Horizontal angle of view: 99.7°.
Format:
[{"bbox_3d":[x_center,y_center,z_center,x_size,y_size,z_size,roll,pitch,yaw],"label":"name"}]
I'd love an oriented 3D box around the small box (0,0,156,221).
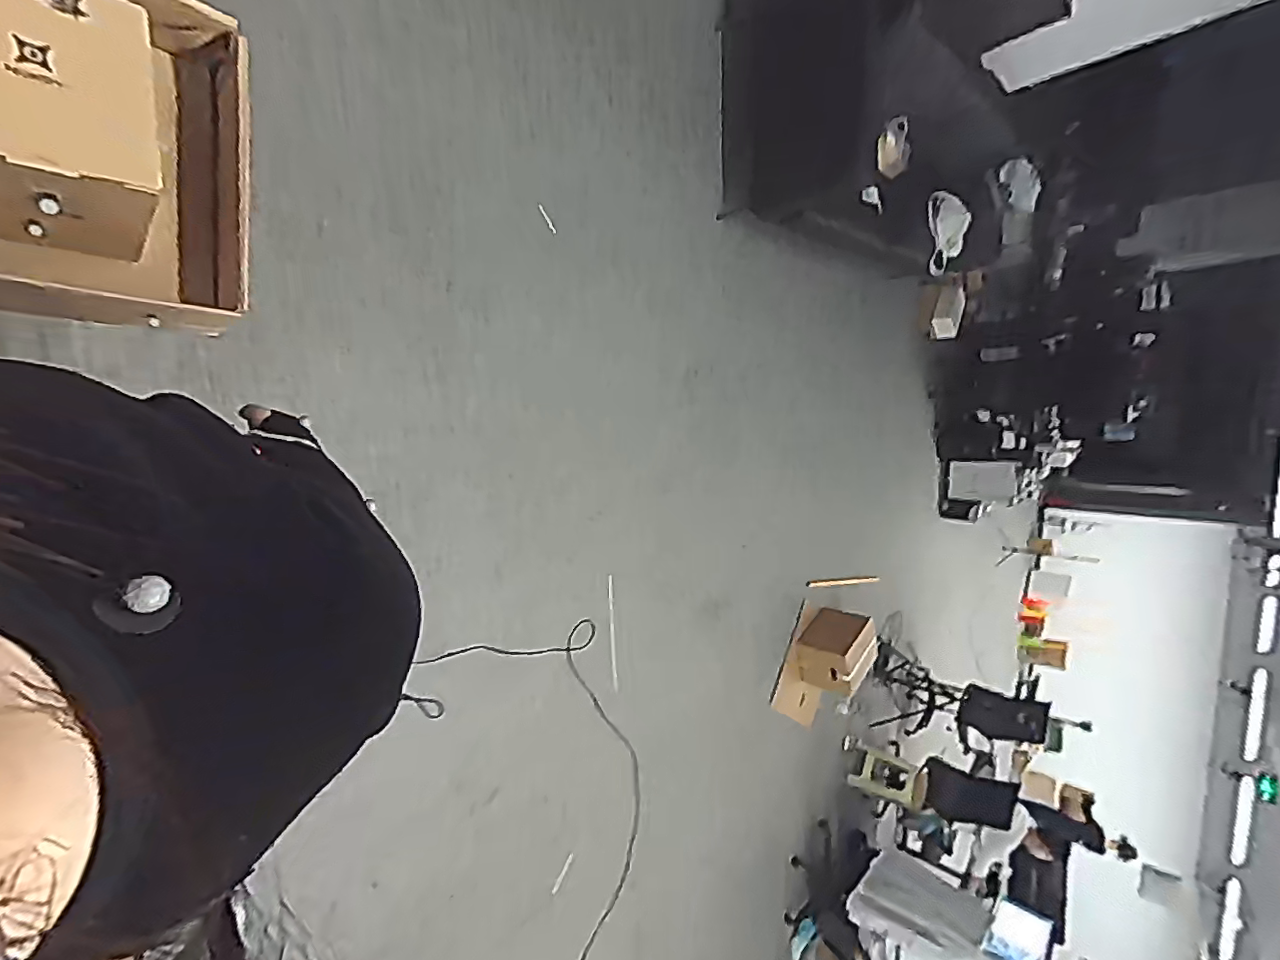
[{"bbox_3d":[-0.598,-0.378,0.532,0.168,0.176,0.179,-6,100,-46],"label":"small box"}]
